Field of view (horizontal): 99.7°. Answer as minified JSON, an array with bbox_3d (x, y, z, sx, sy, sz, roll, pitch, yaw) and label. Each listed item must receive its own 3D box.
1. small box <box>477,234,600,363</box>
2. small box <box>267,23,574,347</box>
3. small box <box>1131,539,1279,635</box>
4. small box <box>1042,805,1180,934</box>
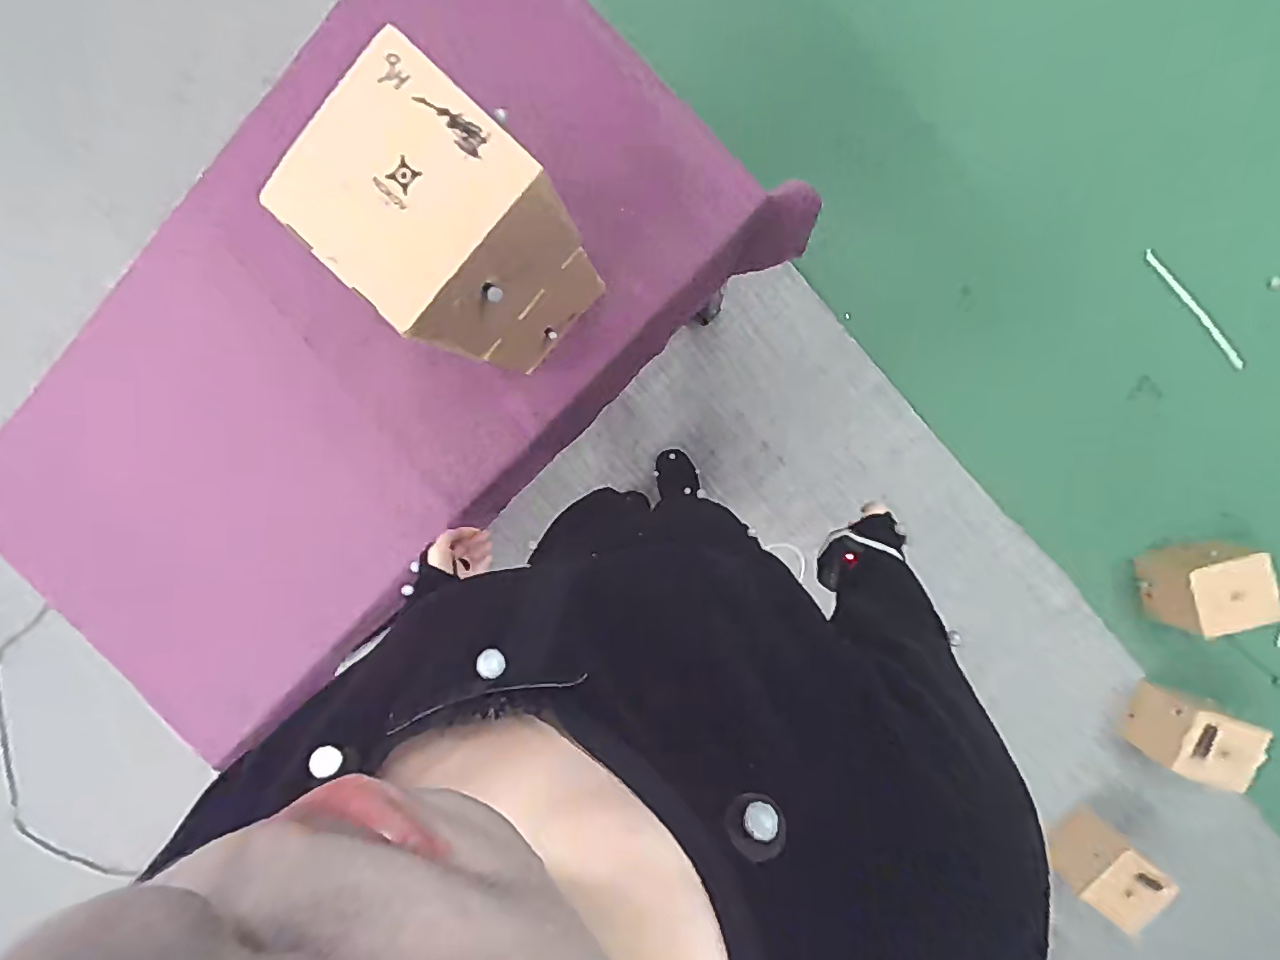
[{"bbox_3d":[-0.173,-0.265,0.674,0.179,0.176,0.168,43,97,-1],"label":"small box"},{"bbox_3d":[-0.184,-0.248,0.511,0.168,0.176,0.179,43,98,-1],"label":"small box"},{"bbox_3d":[1.374,0.254,1.324,0.179,0.176,0.168,-17,93,6],"label":"small box"},{"bbox_3d":[1.207,0.999,1.404,0.168,0.176,0.179,37,98,1],"label":"small box"}]
